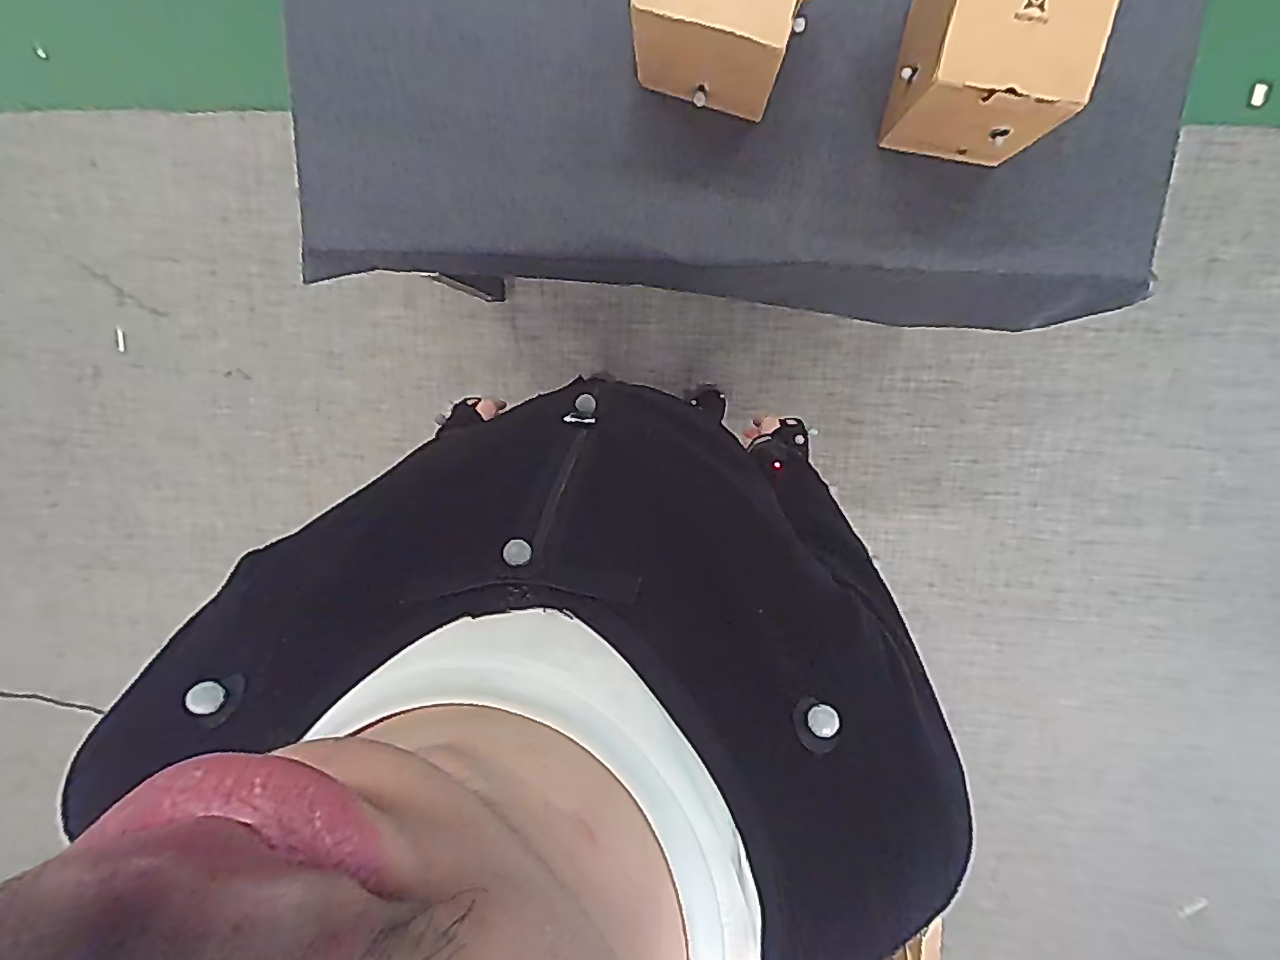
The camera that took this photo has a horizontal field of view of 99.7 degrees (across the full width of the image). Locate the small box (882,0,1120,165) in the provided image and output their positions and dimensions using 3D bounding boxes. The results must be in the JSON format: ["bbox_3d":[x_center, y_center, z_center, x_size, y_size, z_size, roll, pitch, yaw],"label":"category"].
[{"bbox_3d":[0.411,-0.504,0.638,0.168,0.176,0.179,11,100,-1],"label":"small box"}]

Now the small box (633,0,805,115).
[{"bbox_3d":[0.101,-0.572,0.641,0.179,0.176,0.168,17,100,-1],"label":"small box"}]
